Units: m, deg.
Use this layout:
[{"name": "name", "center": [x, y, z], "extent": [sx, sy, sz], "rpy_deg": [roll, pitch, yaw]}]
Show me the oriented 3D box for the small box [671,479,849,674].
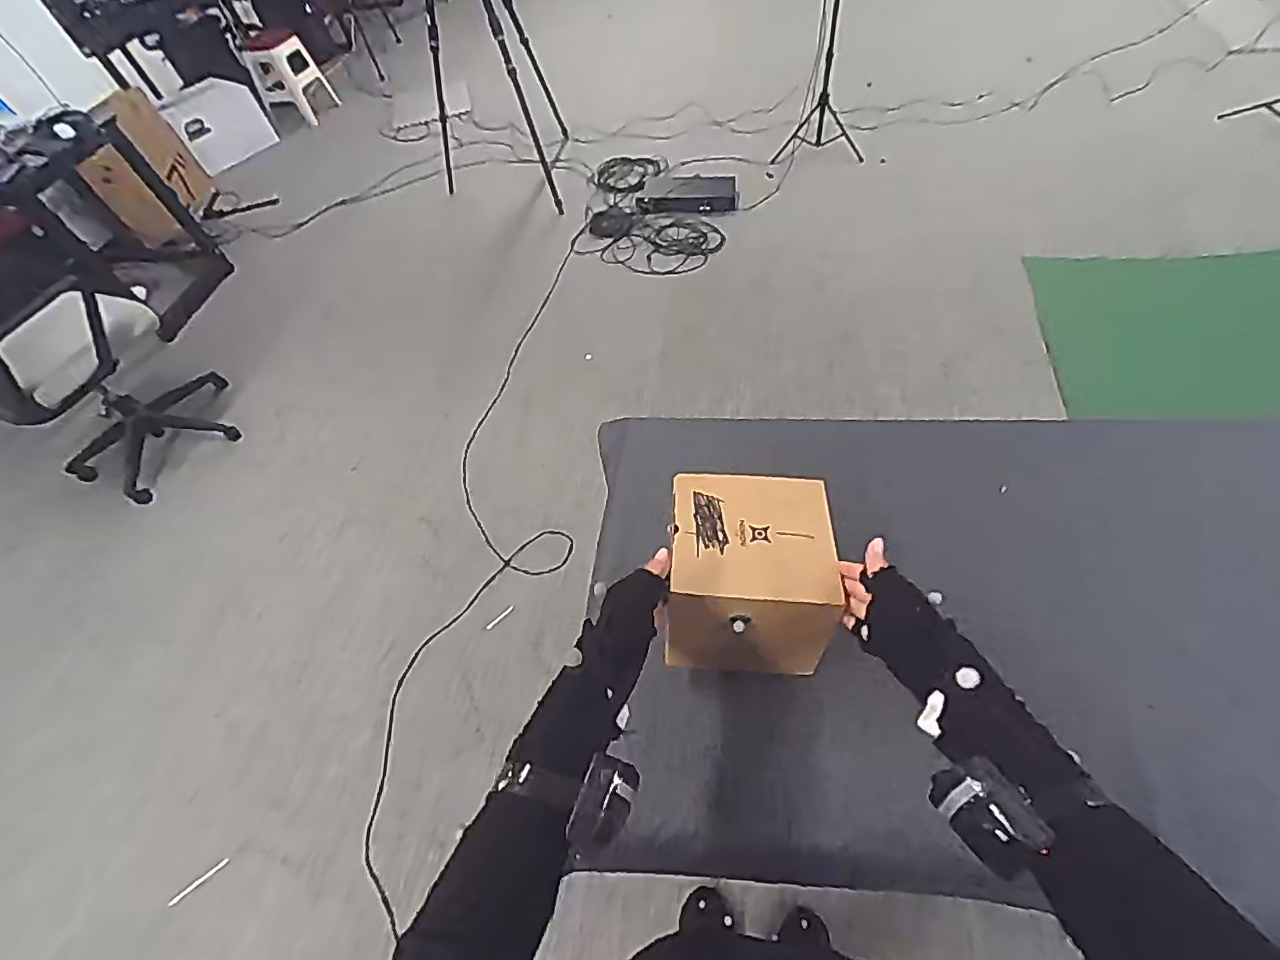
[{"name": "small box", "center": [0.128, 0.116, 0.643], "extent": [0.179, 0.176, 0.168], "rpy_deg": [2, 47, 4]}]
